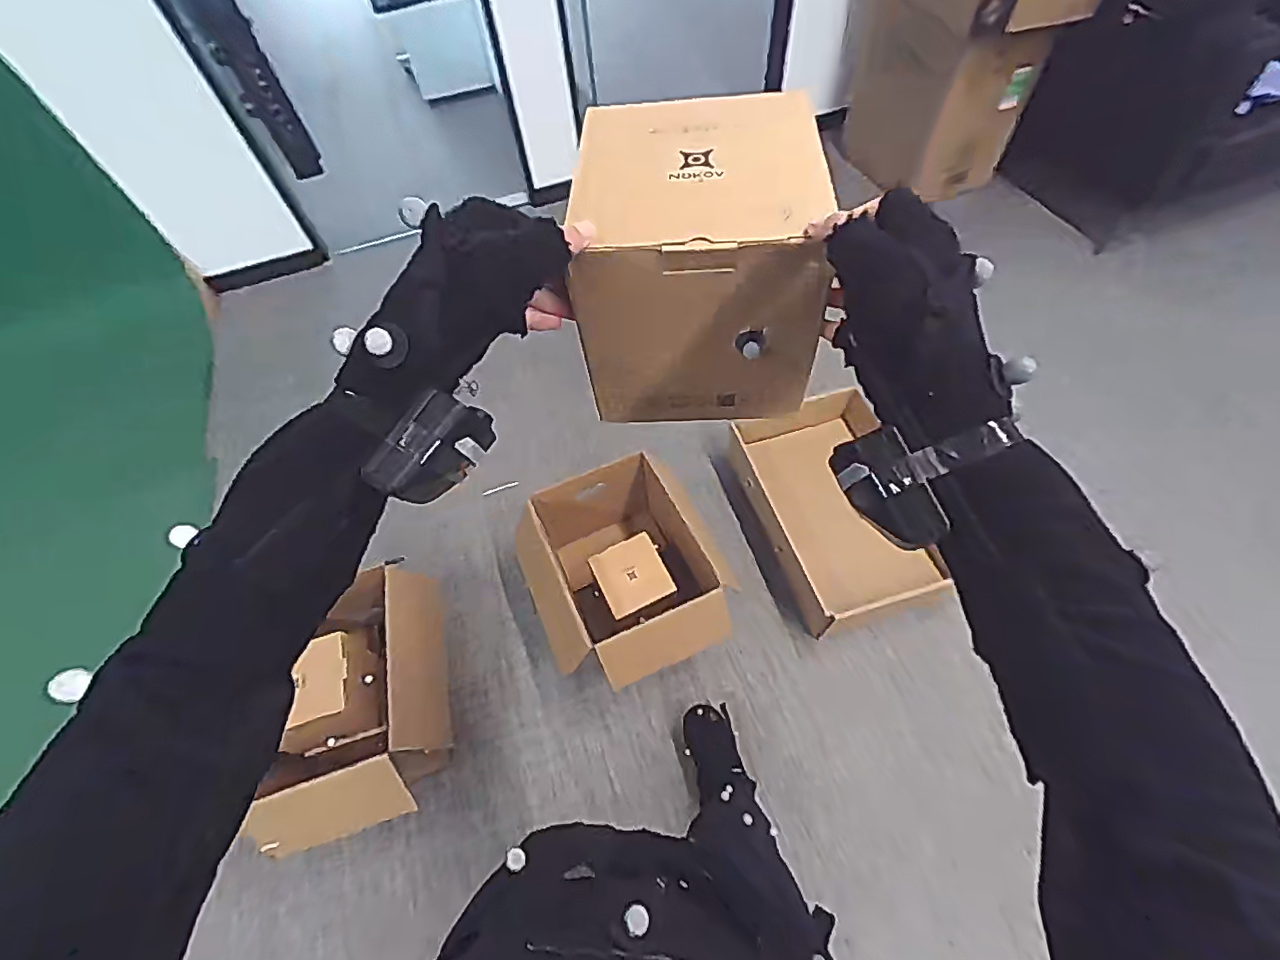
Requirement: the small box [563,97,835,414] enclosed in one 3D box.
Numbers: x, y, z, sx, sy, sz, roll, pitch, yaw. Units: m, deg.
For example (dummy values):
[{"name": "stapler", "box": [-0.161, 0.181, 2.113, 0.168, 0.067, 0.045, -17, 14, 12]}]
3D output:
[{"name": "small box", "box": [0.044, -0.165, 0.431, 0.168, 0.176, 0.179, -1, 58, 5]}]
